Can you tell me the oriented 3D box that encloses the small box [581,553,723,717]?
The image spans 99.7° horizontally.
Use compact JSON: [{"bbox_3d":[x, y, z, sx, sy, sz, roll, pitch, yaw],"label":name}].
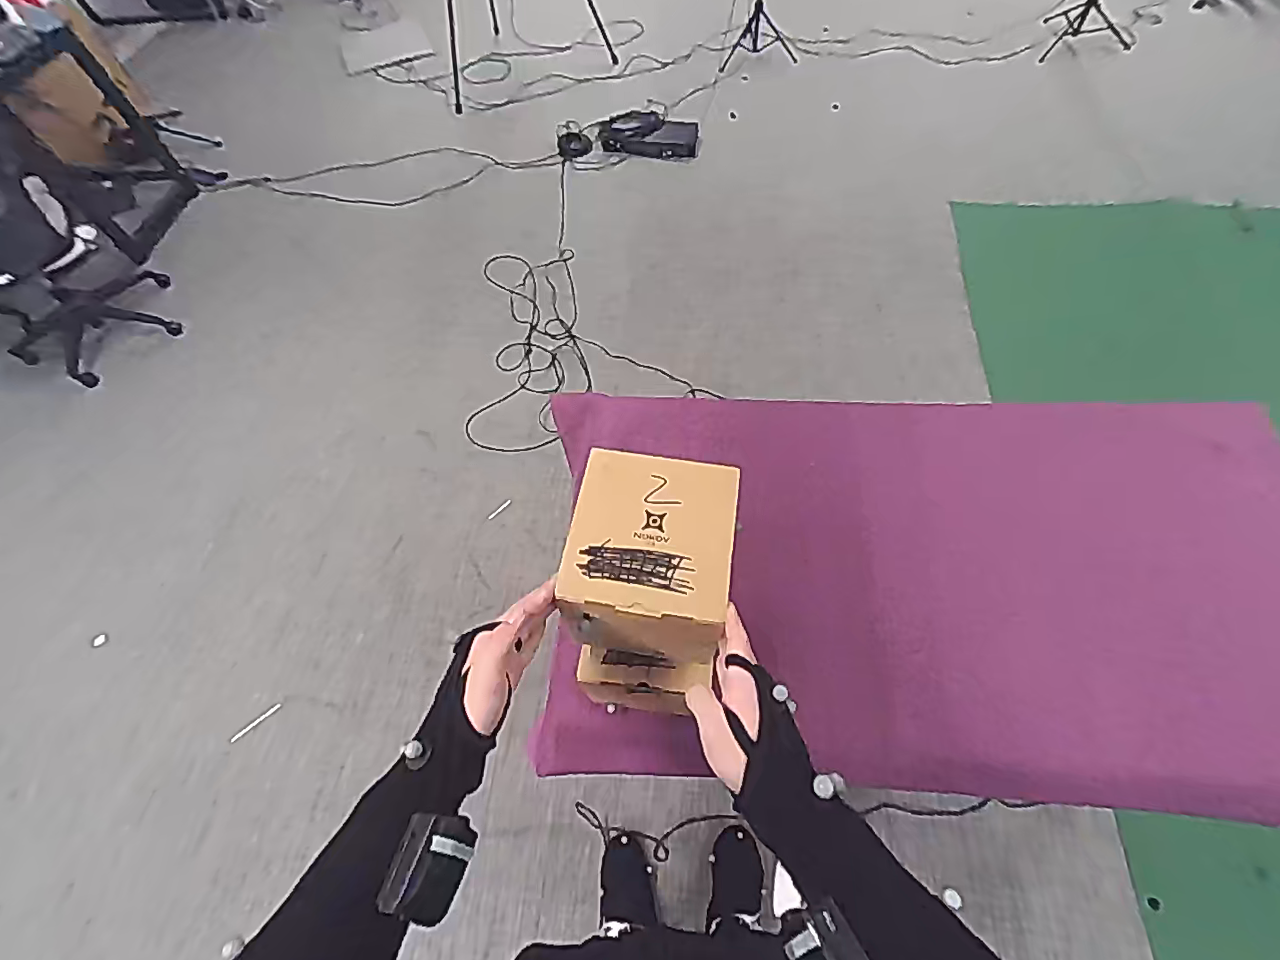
[{"bbox_3d":[0.024,0.221,0.755,0.168,0.176,0.179,5,59,7],"label":"small box"}]
